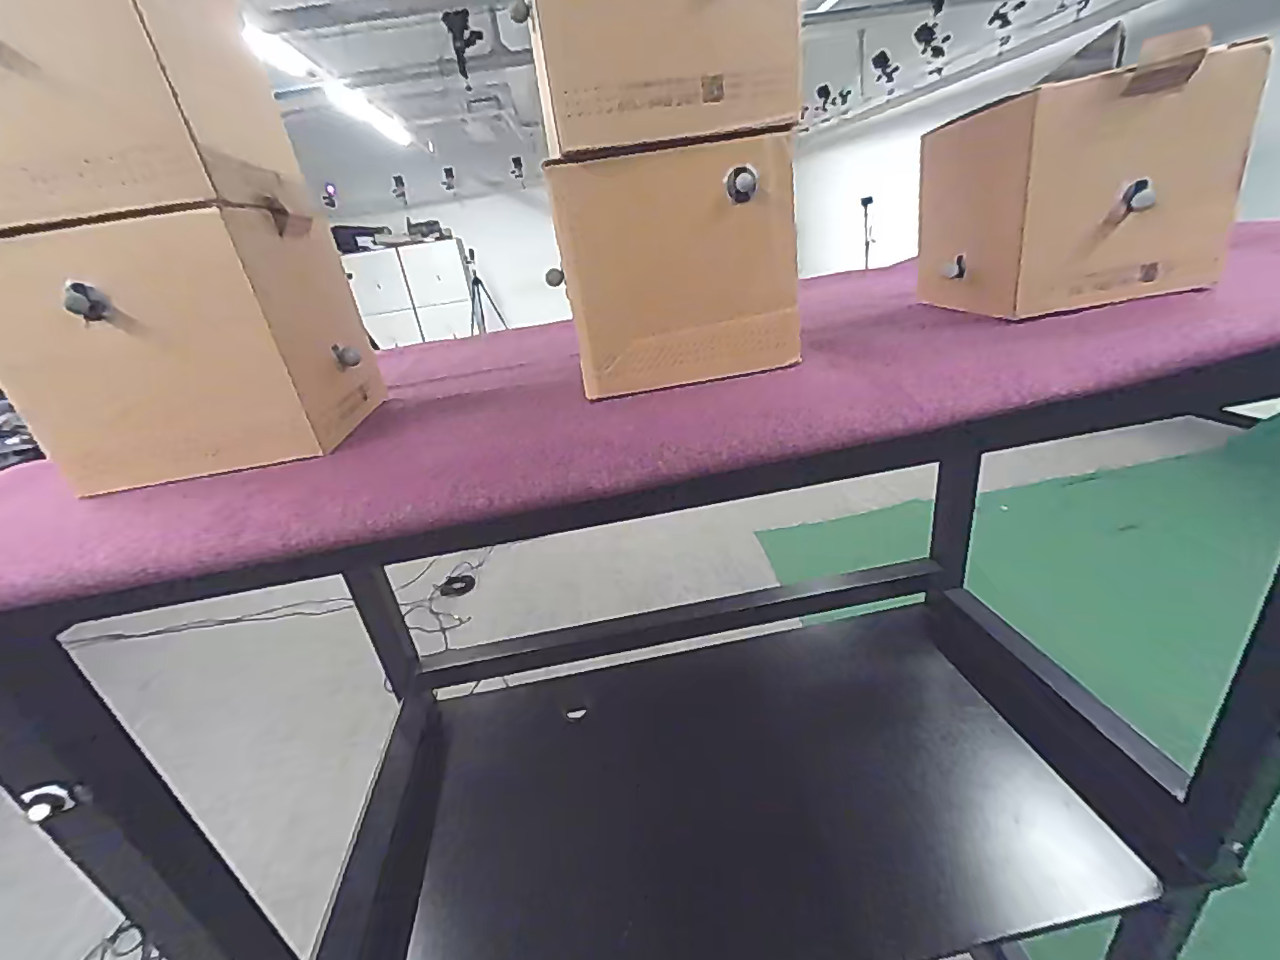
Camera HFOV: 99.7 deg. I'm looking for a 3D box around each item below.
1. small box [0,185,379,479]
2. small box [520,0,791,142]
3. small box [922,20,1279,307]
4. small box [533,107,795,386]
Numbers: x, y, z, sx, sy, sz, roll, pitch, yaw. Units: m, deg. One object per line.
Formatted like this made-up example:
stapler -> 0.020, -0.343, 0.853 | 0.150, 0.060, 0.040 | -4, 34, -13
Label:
small box -> -0.335, -0.113, 0.414 | 0.179, 0.176, 0.168 | -10, 26, -4
small box -> 0.002, -0.332, 0.391 | 0.168, 0.176, 0.179 | -10, 22, -6
small box -> 0.372, -0.256, 0.478 | 0.168, 0.176, 0.179 | -9, 23, 4
small box -> 0.018, -0.184, 0.456 | 0.179, 0.176, 0.168 | -10, 24, -4
